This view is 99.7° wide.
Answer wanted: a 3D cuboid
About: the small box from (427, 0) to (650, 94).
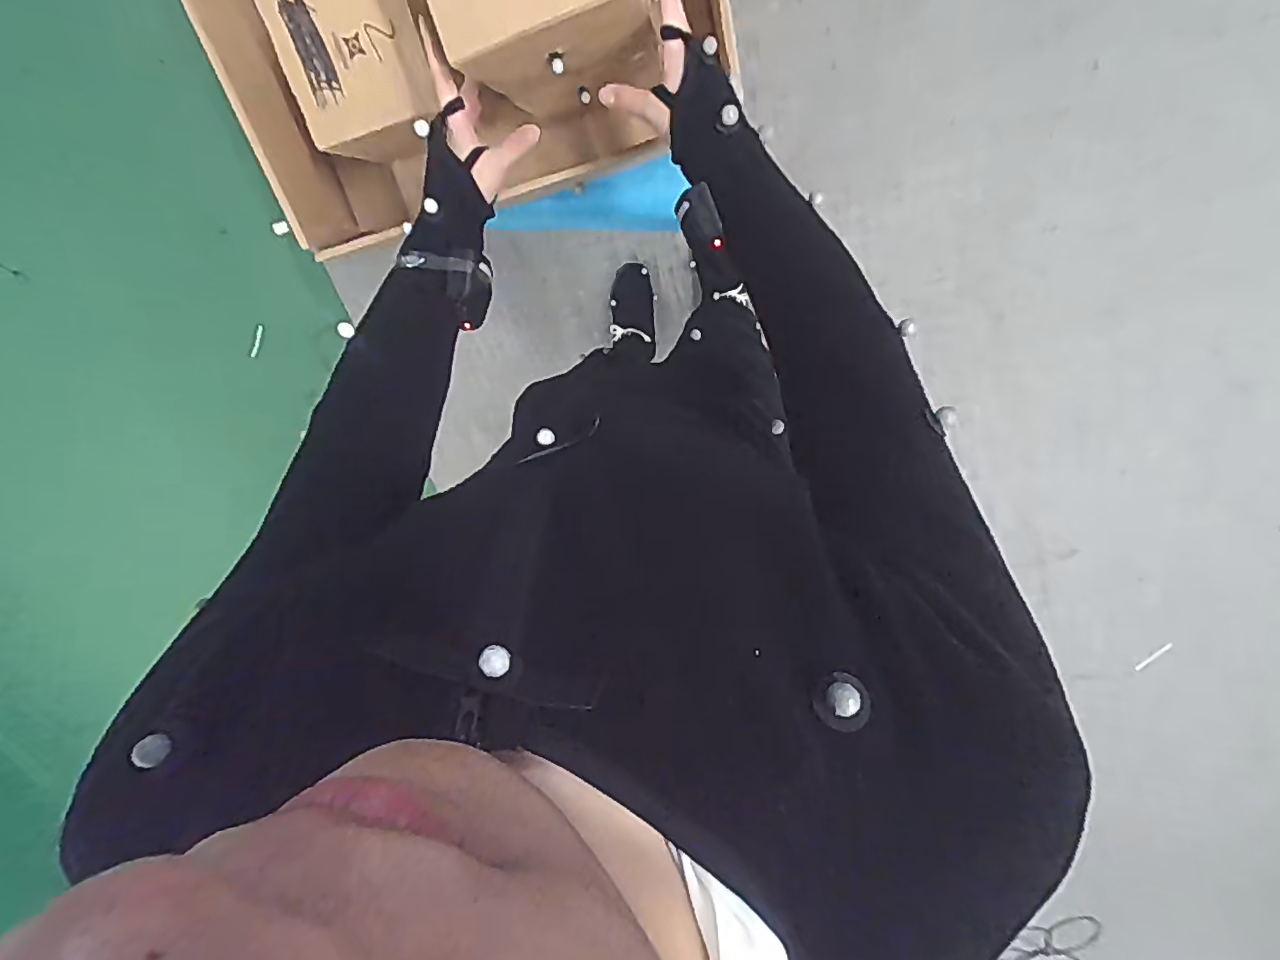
[{"bbox_3d":[-0.094,-0.482,0.485,0.179,0.176,0.168,-11,113,14],"label":"small box"}]
